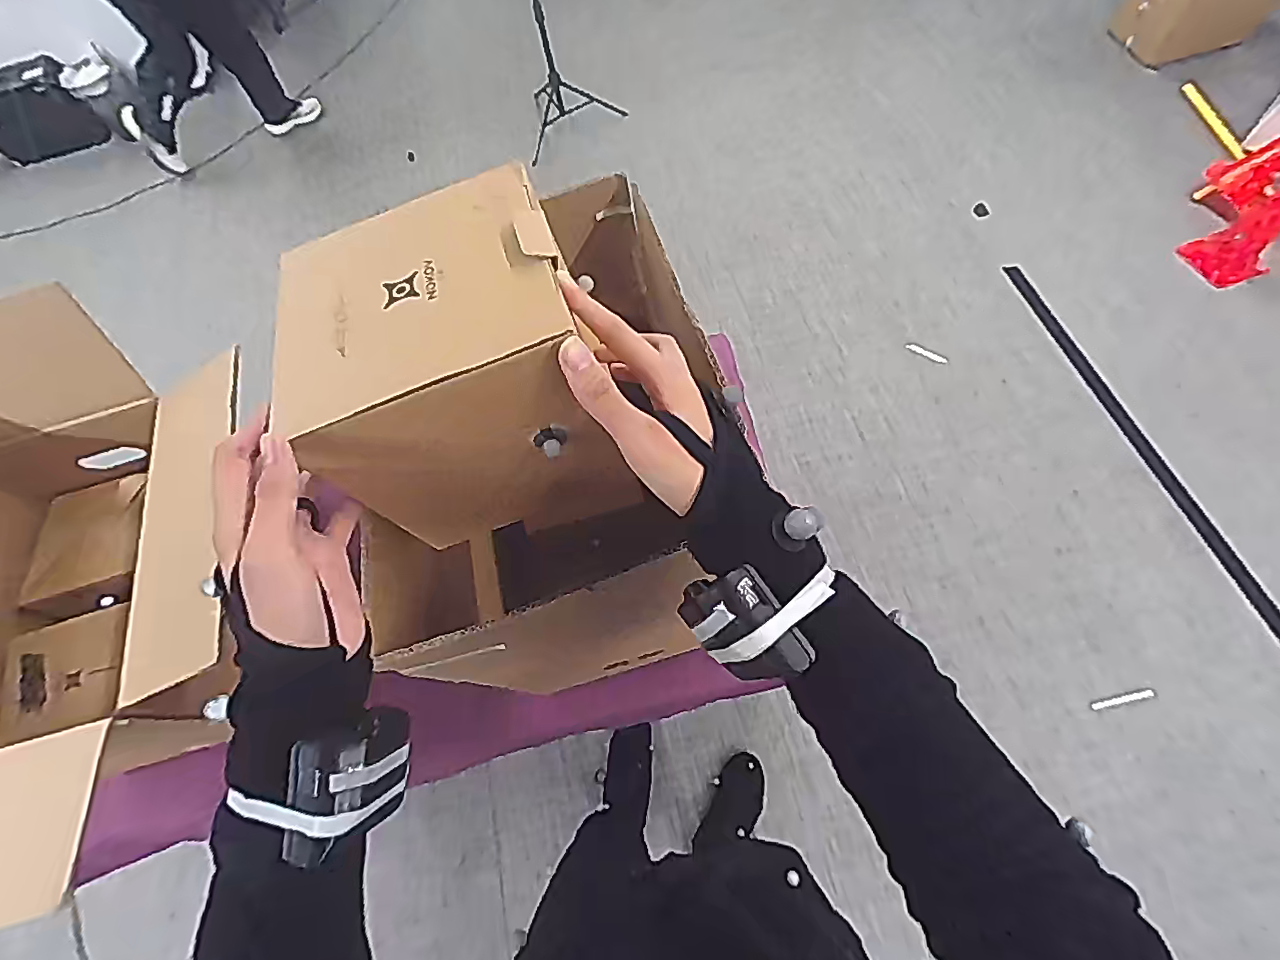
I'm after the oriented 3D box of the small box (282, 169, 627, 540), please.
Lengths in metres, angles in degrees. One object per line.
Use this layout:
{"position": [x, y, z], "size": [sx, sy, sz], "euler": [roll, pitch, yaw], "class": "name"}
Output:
{"position": [-0.118, -0.078, 0.399], "size": [0.179, 0.176, 0.168], "euler": [-20, 60, 5], "class": "small box"}
